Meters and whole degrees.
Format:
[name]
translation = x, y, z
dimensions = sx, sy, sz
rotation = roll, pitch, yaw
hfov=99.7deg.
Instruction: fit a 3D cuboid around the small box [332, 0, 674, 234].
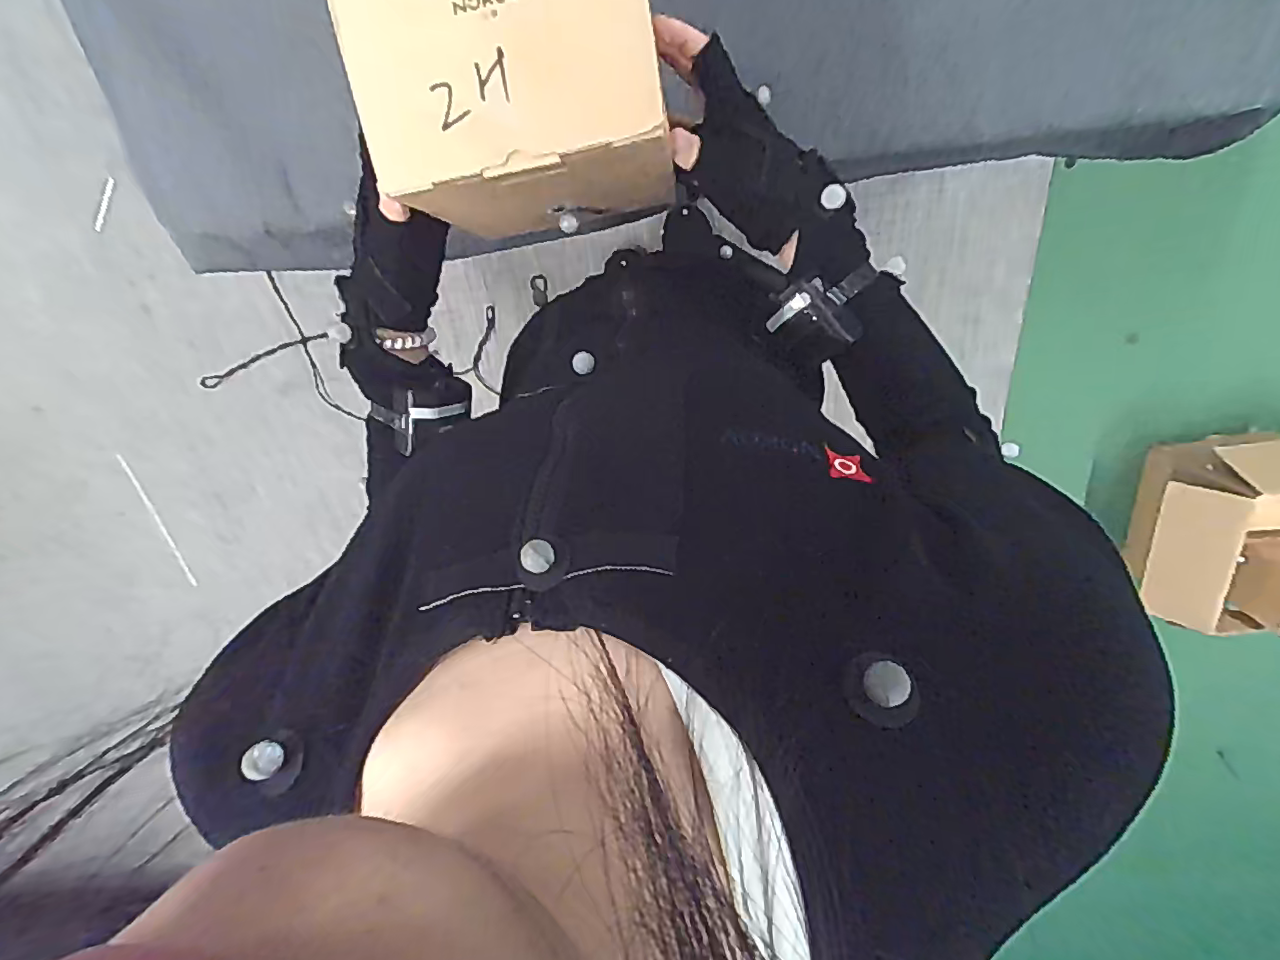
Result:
[small box]
translation = -0.072, -0.277, 0.349
dimensions = 0.168, 0.176, 0.179
rotation = -8, 106, 8
